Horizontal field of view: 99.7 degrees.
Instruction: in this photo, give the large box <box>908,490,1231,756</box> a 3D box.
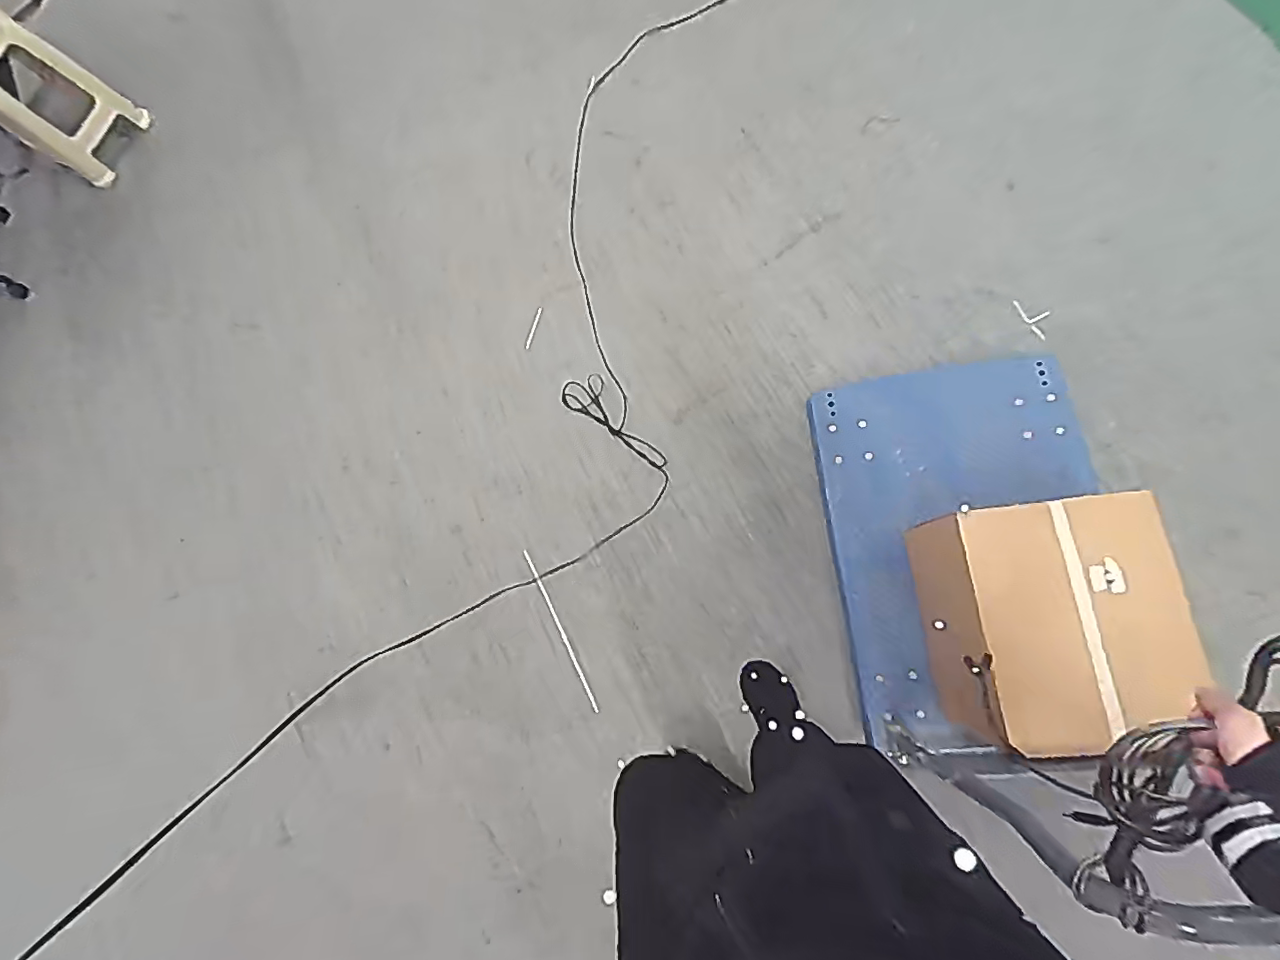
[{"bbox_3d":[0.749,0.259,1.022,0.320,0.320,0.408,-7,77,7],"label":"large box"}]
